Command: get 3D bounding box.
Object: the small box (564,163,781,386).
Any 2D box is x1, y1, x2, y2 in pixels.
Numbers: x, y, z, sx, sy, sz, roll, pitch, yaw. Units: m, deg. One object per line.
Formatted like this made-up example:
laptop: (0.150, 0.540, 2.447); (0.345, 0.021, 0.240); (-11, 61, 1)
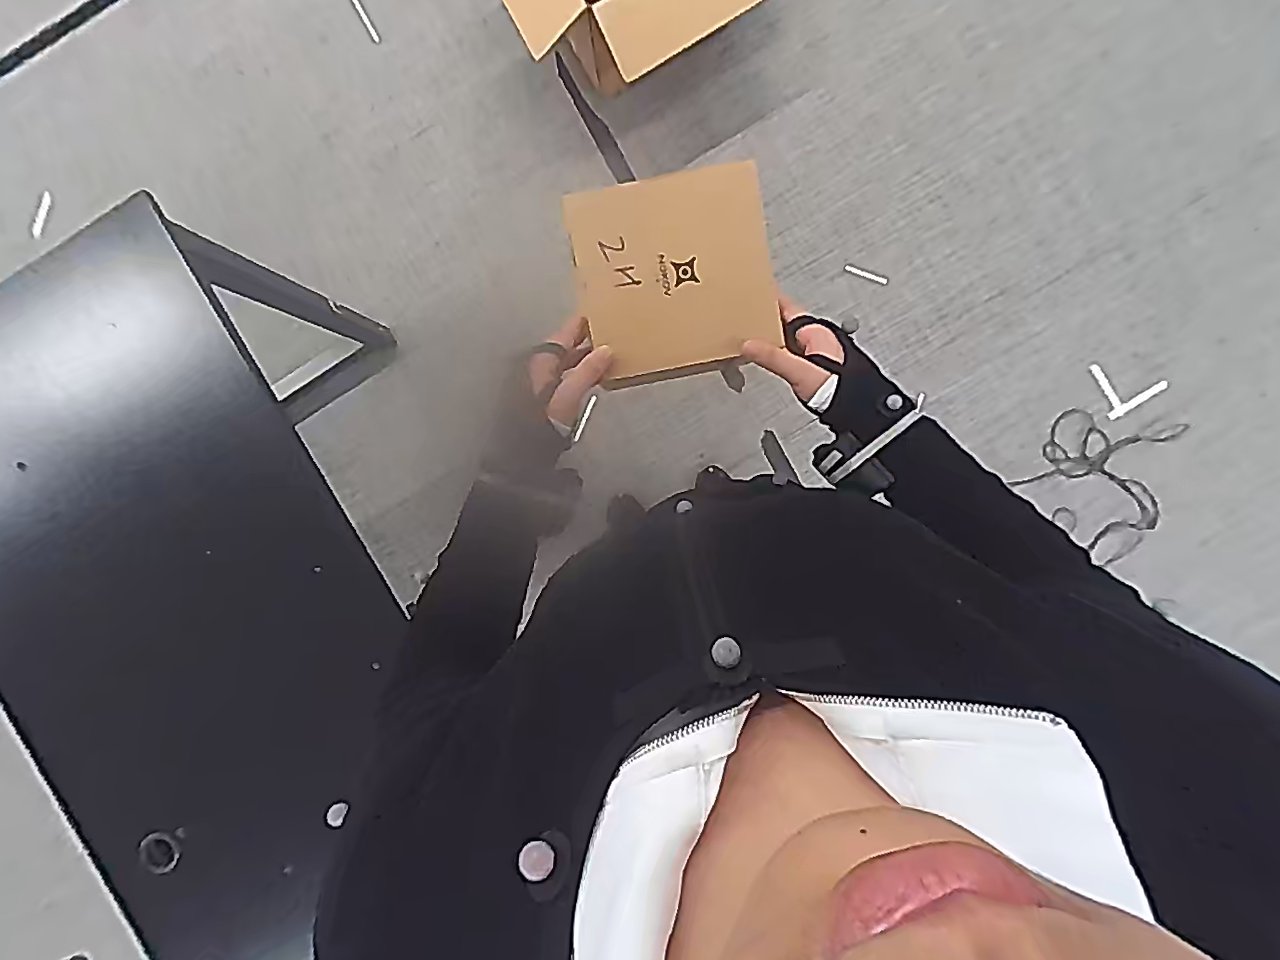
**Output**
small box: (0.029, -0.196, 0.566); (0.179, 0.176, 0.168); (-11, 97, 1)
